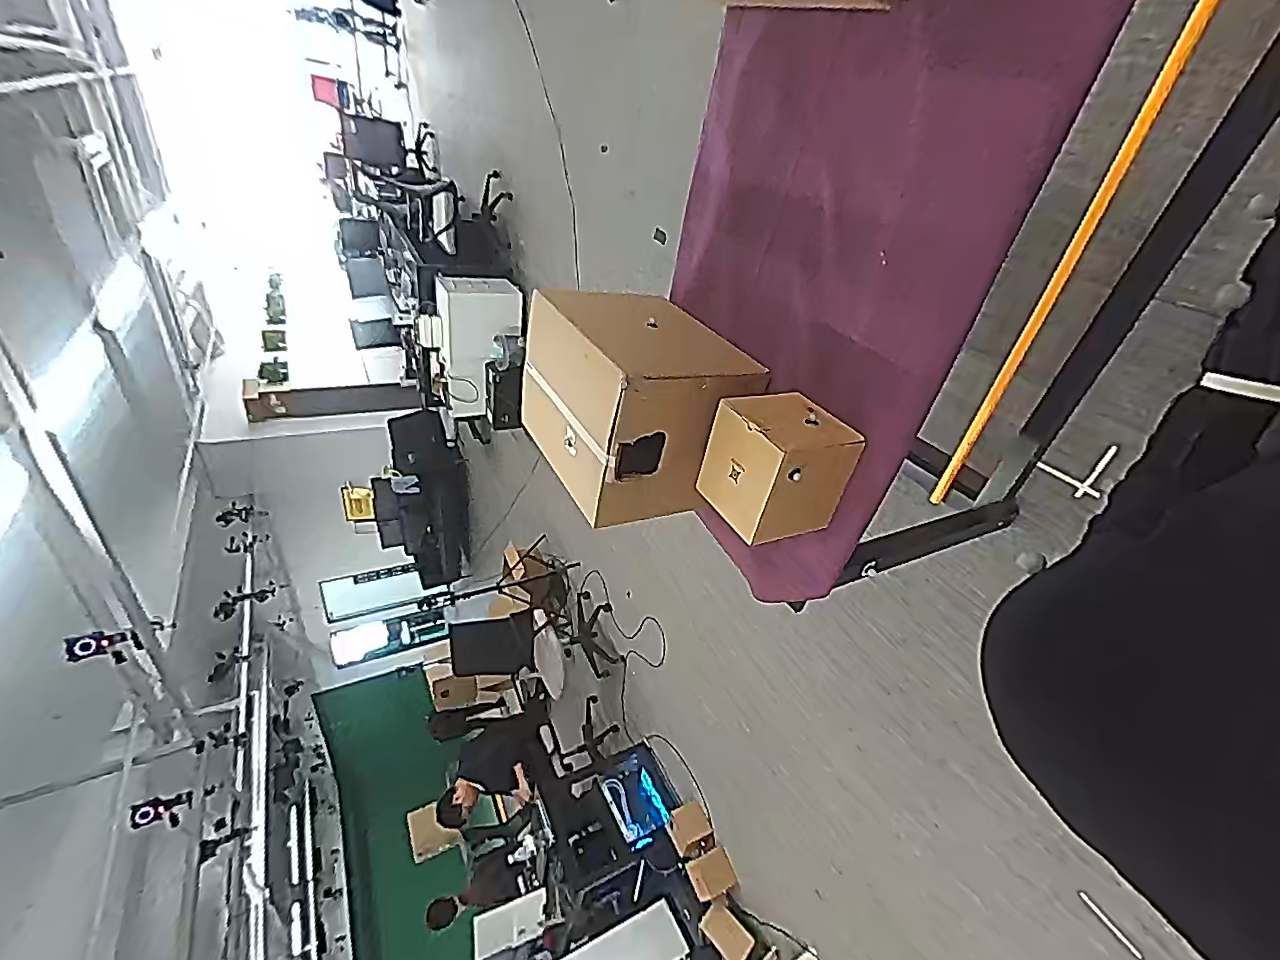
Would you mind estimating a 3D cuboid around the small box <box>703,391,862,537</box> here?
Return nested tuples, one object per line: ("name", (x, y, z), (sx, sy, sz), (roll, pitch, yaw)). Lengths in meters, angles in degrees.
("small box", (0.230, -0.033, 0.891), (0.168, 0.176, 0.179), (51, 140, 45))

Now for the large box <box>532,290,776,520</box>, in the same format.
("large box", (0.002, -0.178, 1.123), (0.408, 0.320, 0.320), (48, 138, 41))
